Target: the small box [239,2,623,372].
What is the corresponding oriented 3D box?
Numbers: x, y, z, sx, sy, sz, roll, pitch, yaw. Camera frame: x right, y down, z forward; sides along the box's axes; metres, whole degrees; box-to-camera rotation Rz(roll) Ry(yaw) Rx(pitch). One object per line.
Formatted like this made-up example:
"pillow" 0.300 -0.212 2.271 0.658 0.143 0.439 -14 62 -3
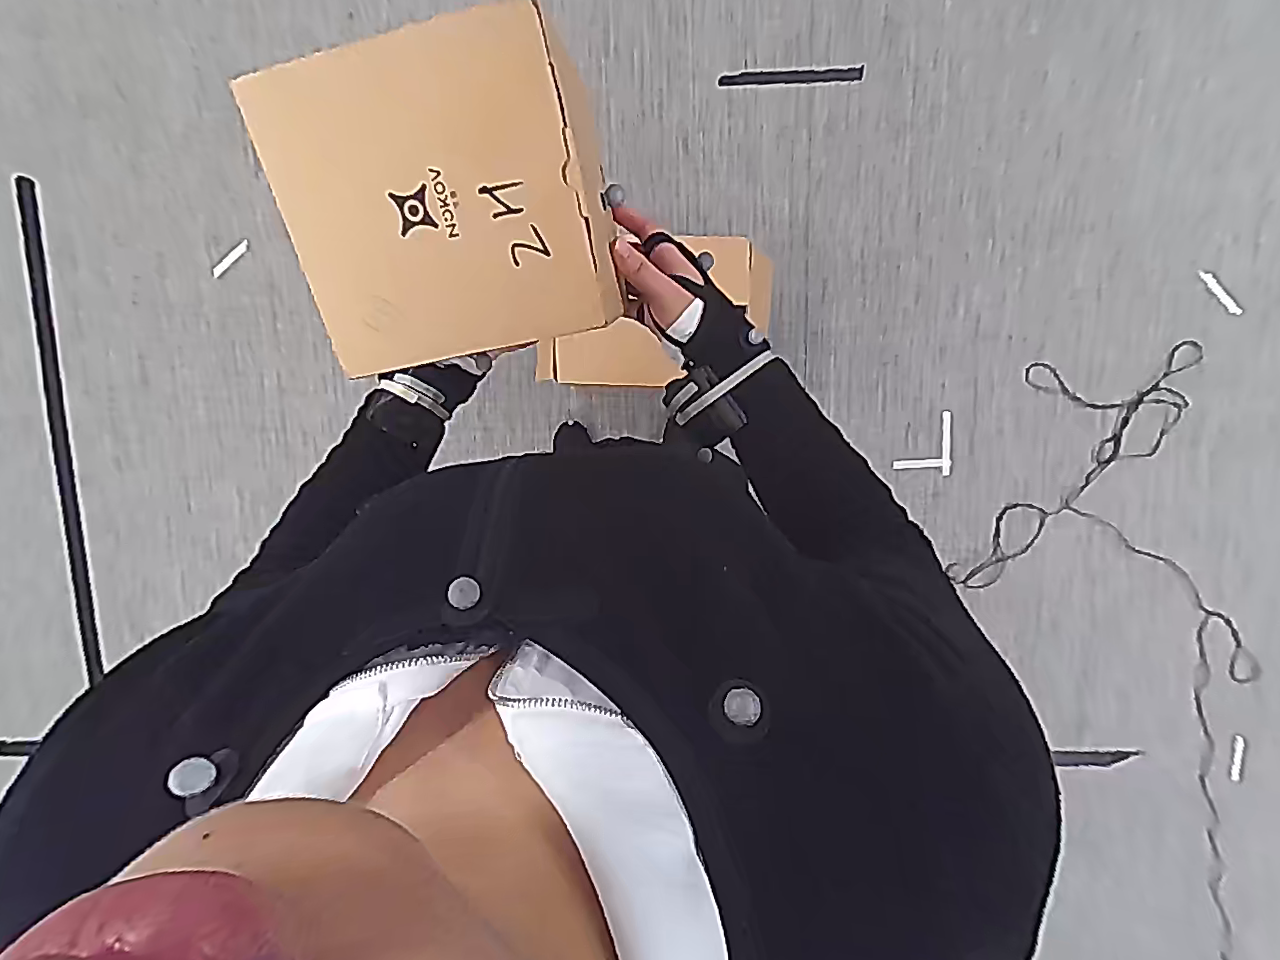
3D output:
"small box" -0.117 -0.184 0.387 0.179 0.176 0.168 -10 111 7
